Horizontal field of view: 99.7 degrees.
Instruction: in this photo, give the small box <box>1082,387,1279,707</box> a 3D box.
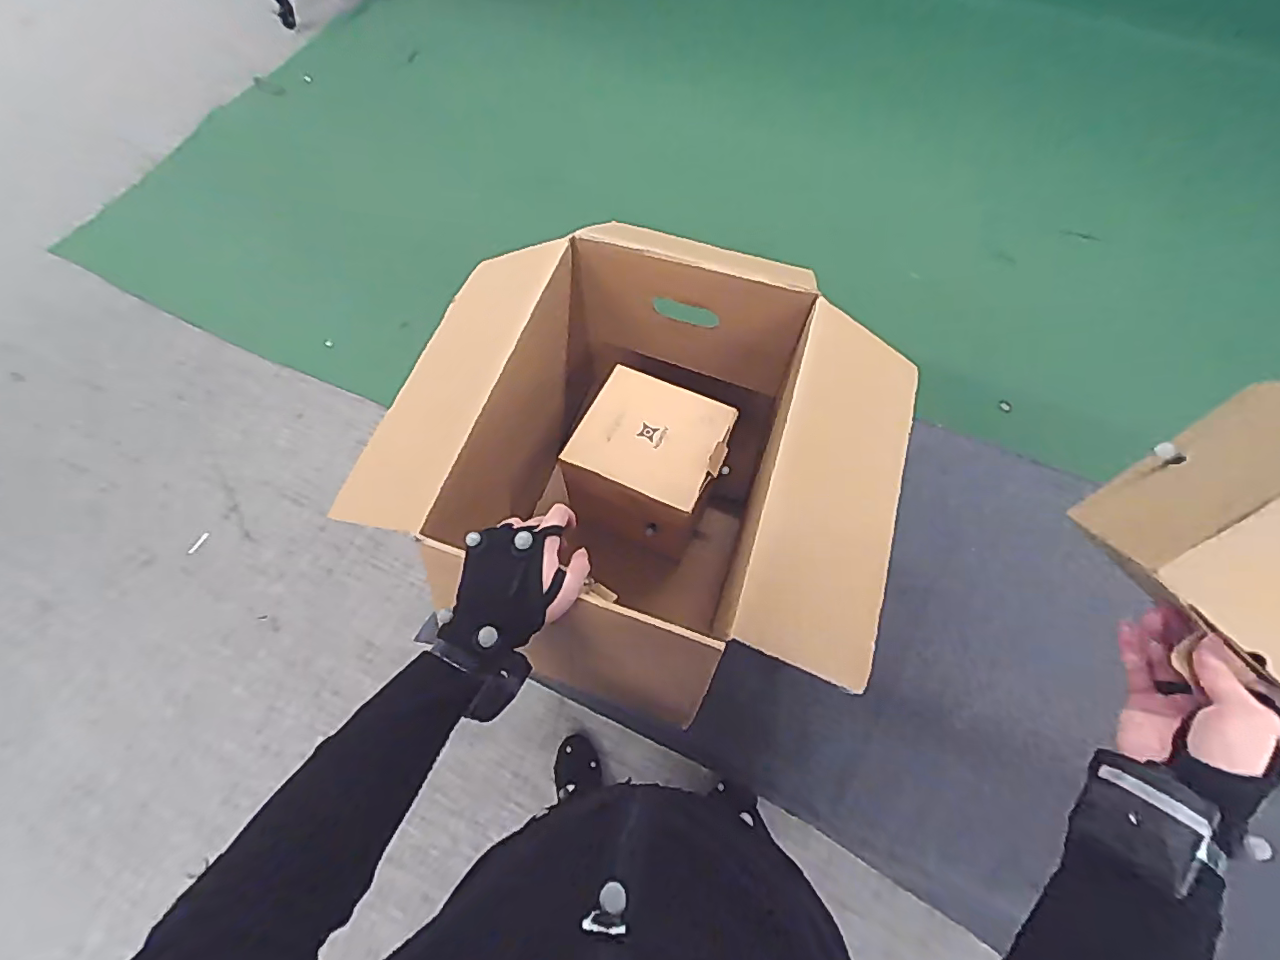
[{"bbox_3d":[0.487,0.048,0.408,0.168,0.176,0.179,45,113,8],"label":"small box"}]
